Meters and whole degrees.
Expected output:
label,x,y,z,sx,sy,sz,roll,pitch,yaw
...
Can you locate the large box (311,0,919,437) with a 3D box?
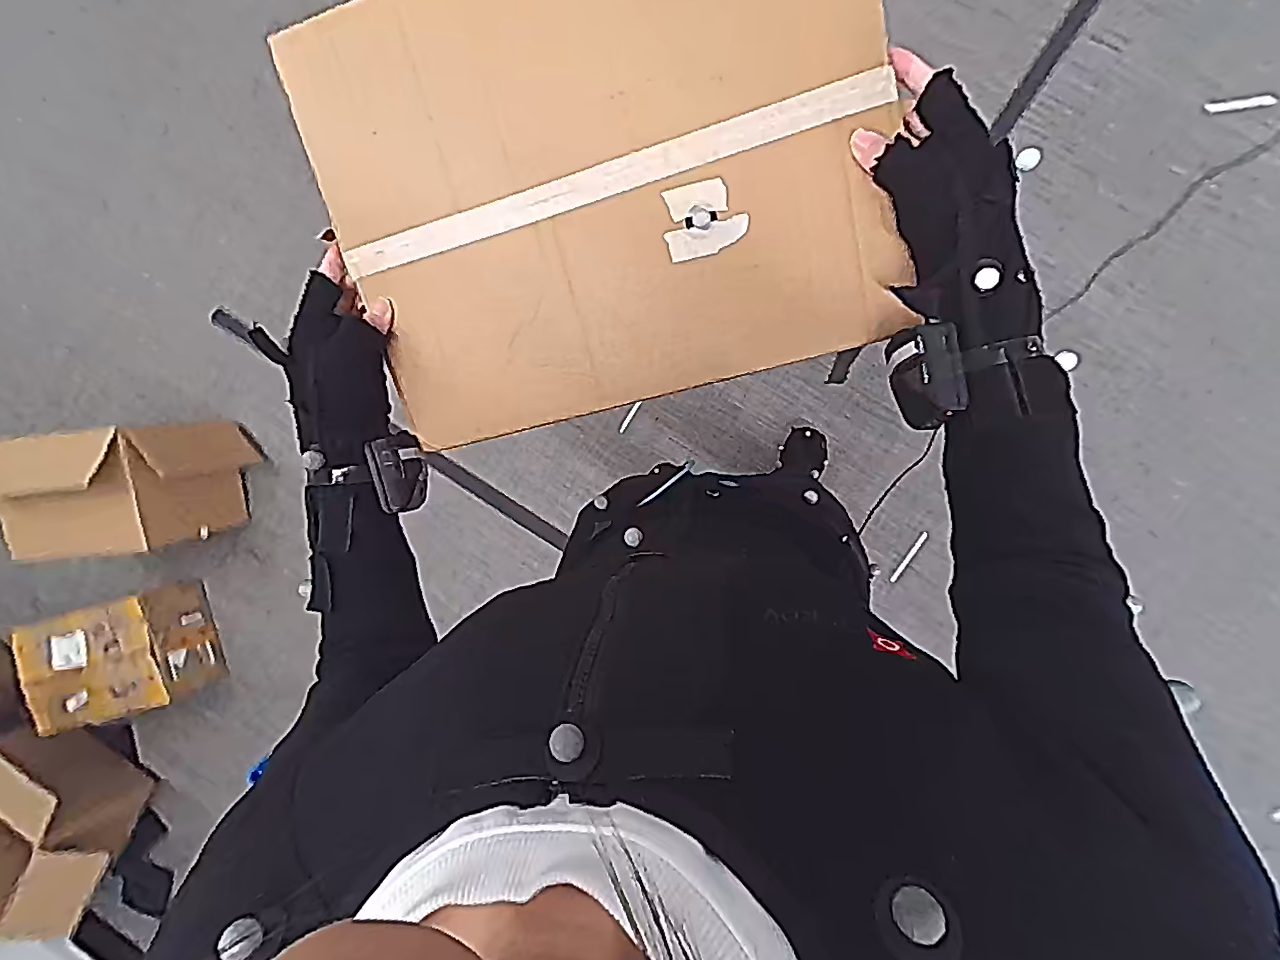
label,x,y,z,sx,sy,sz,roll,pitch,yaw
large box,-0.004,-0.260,0.541,0.408,0.320,0.320,-12,105,10
